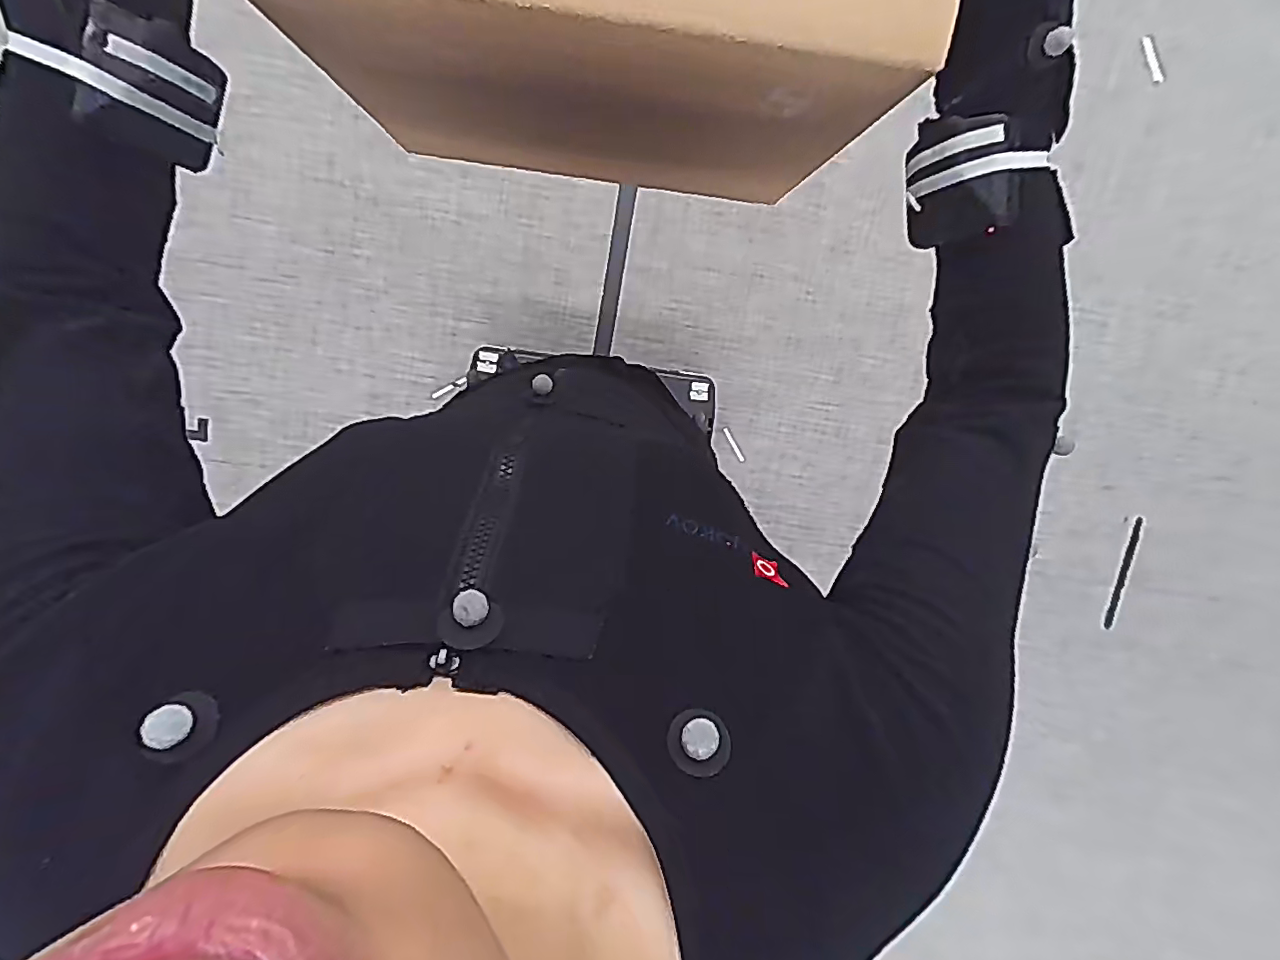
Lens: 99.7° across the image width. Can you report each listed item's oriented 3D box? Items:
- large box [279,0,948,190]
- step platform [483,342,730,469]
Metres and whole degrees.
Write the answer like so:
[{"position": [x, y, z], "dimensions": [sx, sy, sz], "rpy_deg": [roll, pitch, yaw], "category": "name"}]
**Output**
[{"position": [-0.021, -0.445, 0.410], "dimensions": [0.408, 0.320, 0.320], "rpy_deg": [4, 105, -6], "category": "large box"}, {"position": [-0.092, -0.210, 1.540], "dimensions": [0.684, 0.204, 0.286], "rpy_deg": [6, 101, -5], "category": "step platform"}]
